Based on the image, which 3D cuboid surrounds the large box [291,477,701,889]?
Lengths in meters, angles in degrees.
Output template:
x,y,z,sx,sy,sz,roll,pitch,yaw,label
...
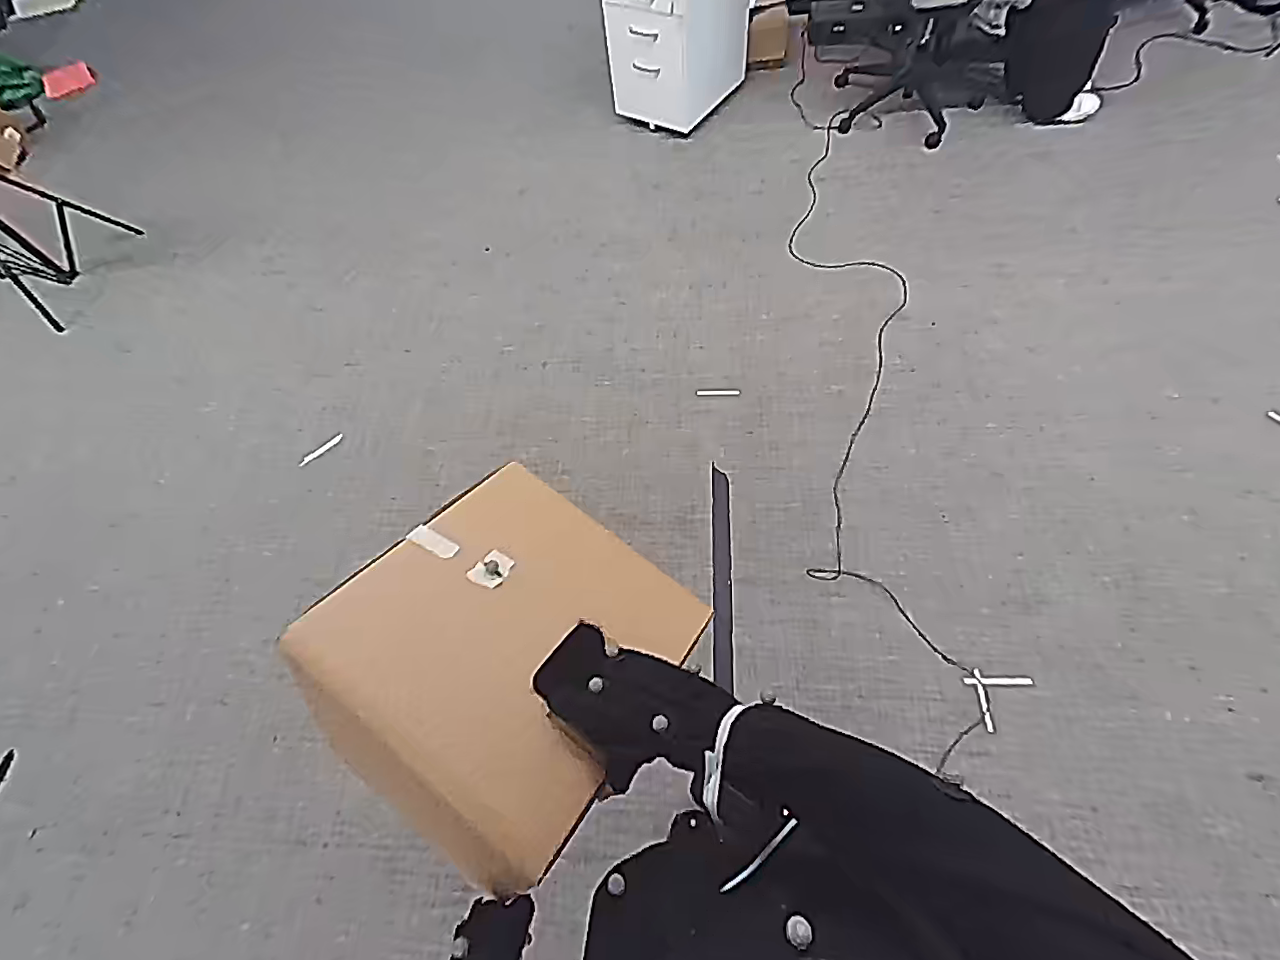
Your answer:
x,y,z,sx,sy,sz,roll,pitch,yaw,label
-0.178,0.273,0.713,0.320,0.408,0.320,36,50,11,large box
